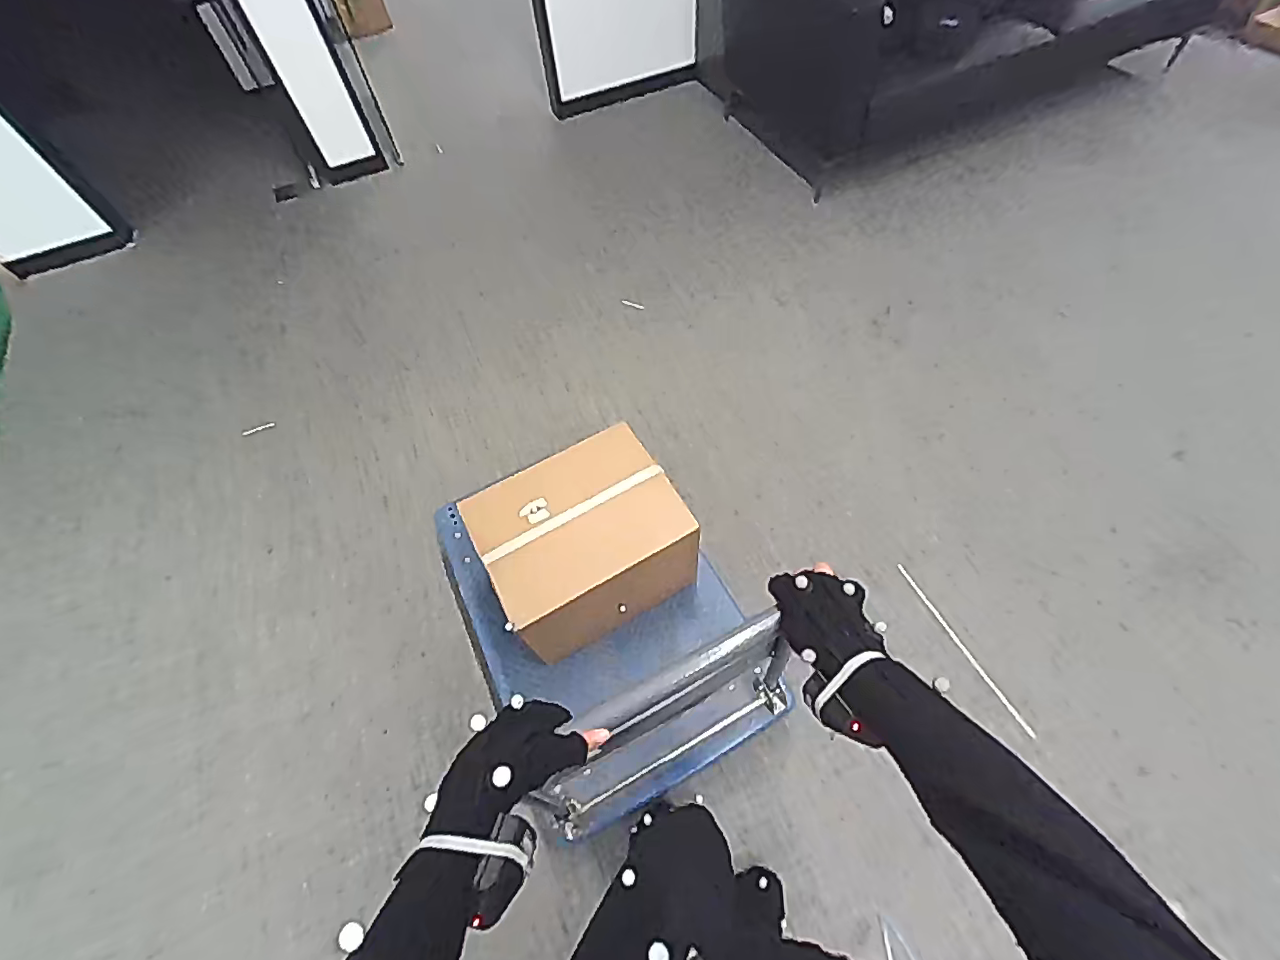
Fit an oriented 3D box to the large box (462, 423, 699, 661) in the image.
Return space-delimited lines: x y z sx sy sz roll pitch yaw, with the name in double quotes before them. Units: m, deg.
"large box" -0.118 0.146 1.224 0.408 0.320 0.320 -29 62 -12
